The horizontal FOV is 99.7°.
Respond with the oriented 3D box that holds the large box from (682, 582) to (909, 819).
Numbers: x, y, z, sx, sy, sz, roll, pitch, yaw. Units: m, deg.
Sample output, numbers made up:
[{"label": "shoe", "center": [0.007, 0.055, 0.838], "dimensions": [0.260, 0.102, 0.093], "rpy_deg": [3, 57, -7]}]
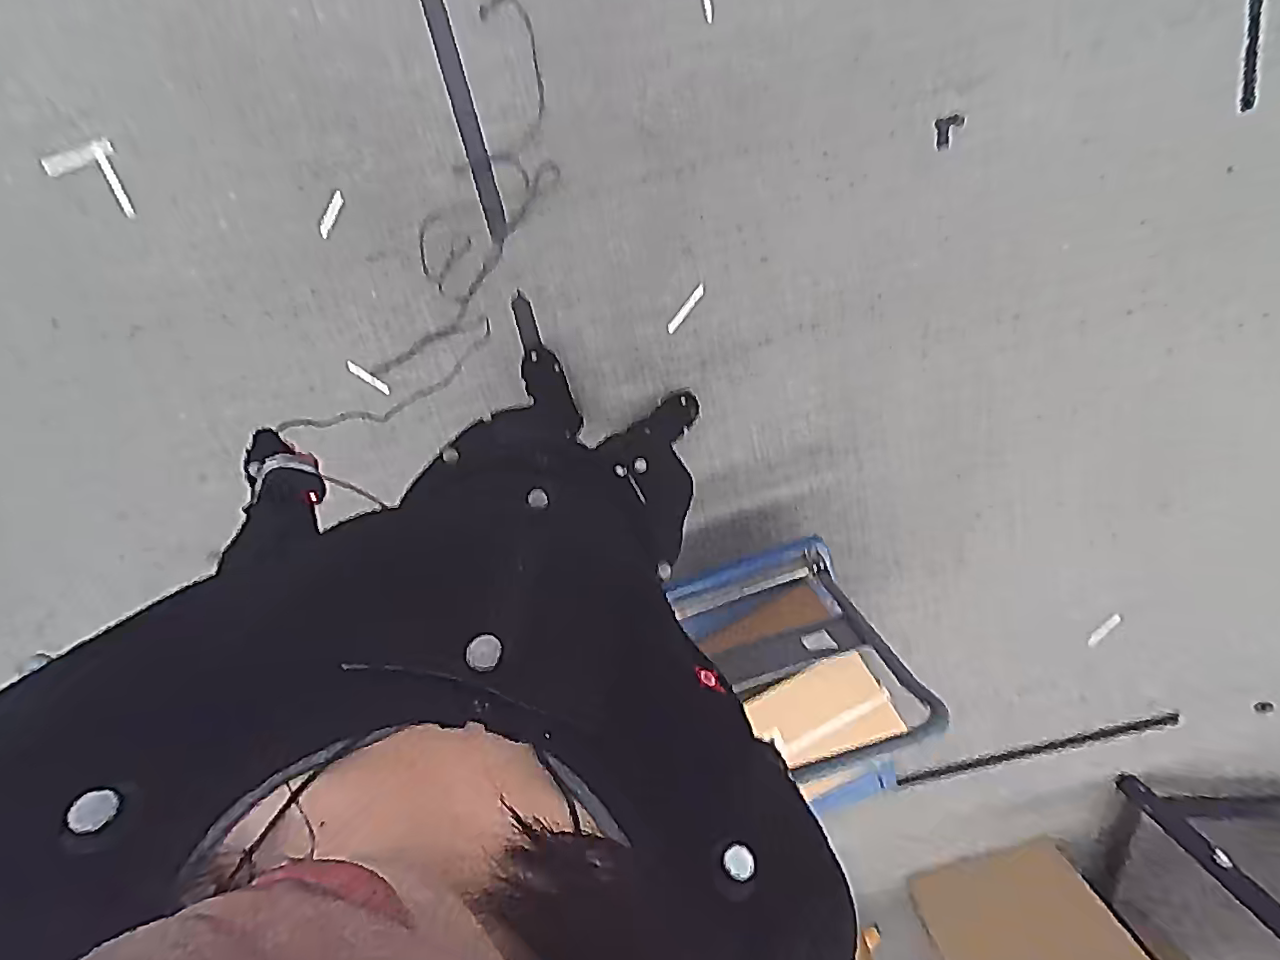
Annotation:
[{"label": "large box", "center": [0.363, 0.532, 1.355], "dimensions": [0.408, 0.320, 0.320], "rpy_deg": [-34, 103, 8]}]
